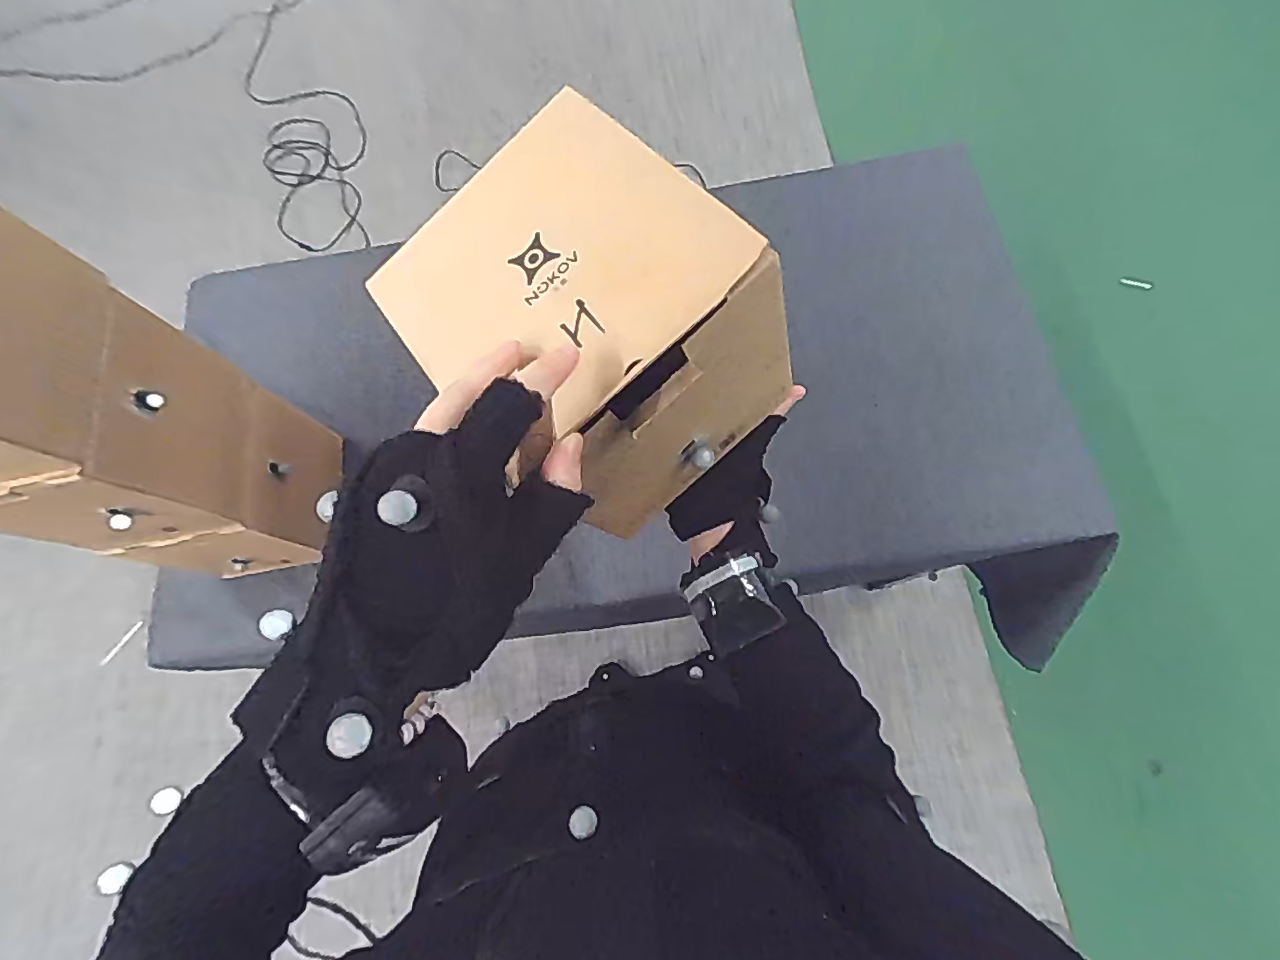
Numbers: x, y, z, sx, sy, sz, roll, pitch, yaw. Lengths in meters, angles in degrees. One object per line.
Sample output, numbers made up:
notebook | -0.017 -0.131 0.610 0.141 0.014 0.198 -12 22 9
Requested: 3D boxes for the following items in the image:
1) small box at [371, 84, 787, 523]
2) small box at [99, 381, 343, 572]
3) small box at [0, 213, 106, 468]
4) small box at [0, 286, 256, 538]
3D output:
small box | -0.024 -0.092 0.353 0.168 0.176 0.179 -41 69 5
small box | -0.492 0.005 0.665 0.168 0.176 0.179 -10 72 2
small box | -0.517 -0.104 0.358 0.168 0.176 0.179 -11 72 0
small box | -0.503 -0.048 0.511 0.168 0.176 0.179 -9 72 1
